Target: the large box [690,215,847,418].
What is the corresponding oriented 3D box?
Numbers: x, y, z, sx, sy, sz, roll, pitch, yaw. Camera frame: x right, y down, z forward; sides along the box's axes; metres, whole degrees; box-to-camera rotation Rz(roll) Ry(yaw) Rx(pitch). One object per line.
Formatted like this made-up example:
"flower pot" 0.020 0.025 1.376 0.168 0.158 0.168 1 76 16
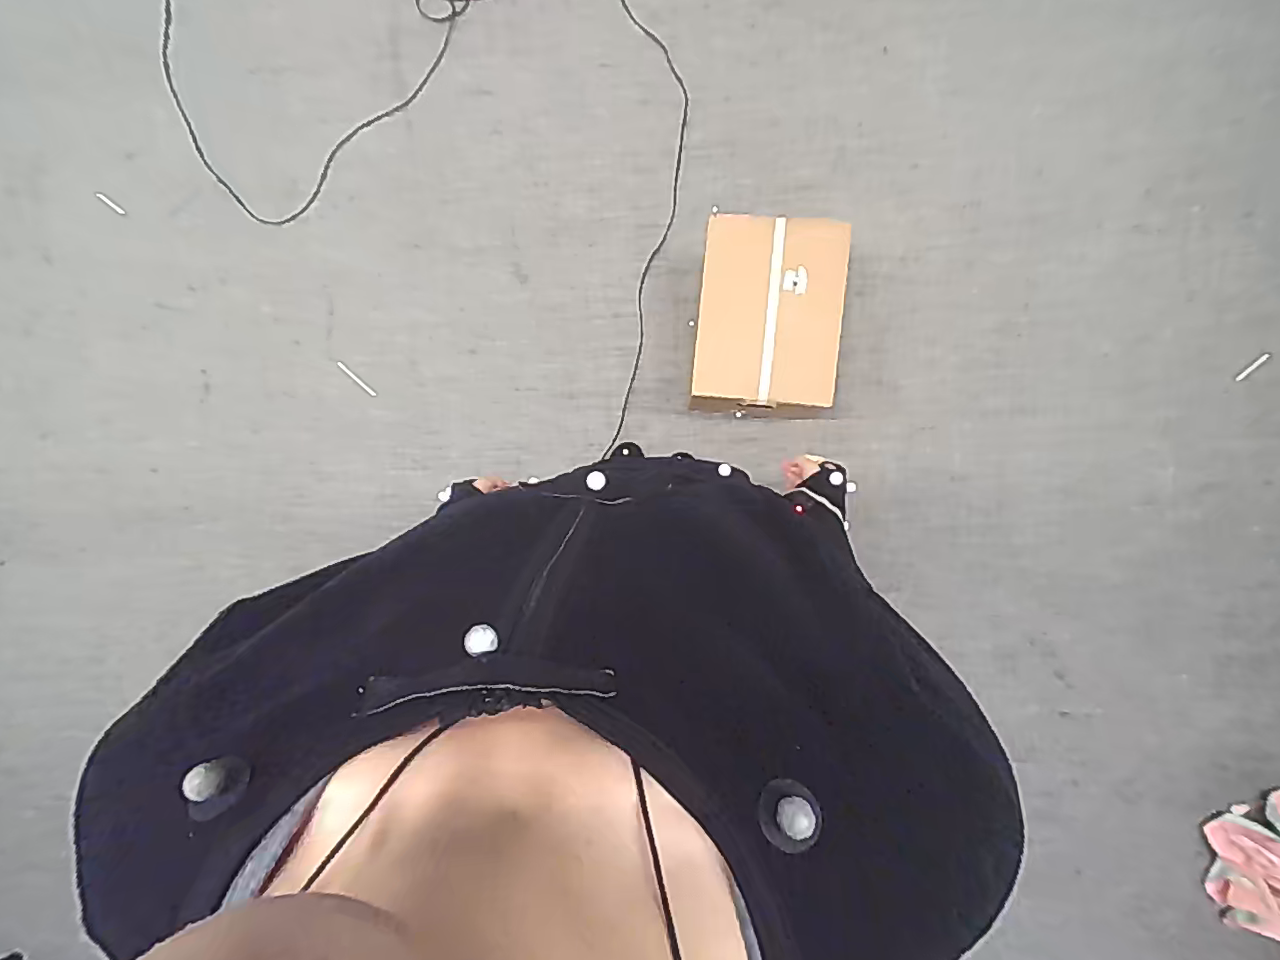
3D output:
"large box" 0.294 -0.376 1.338 0.320 0.320 0.408 6 91 3
